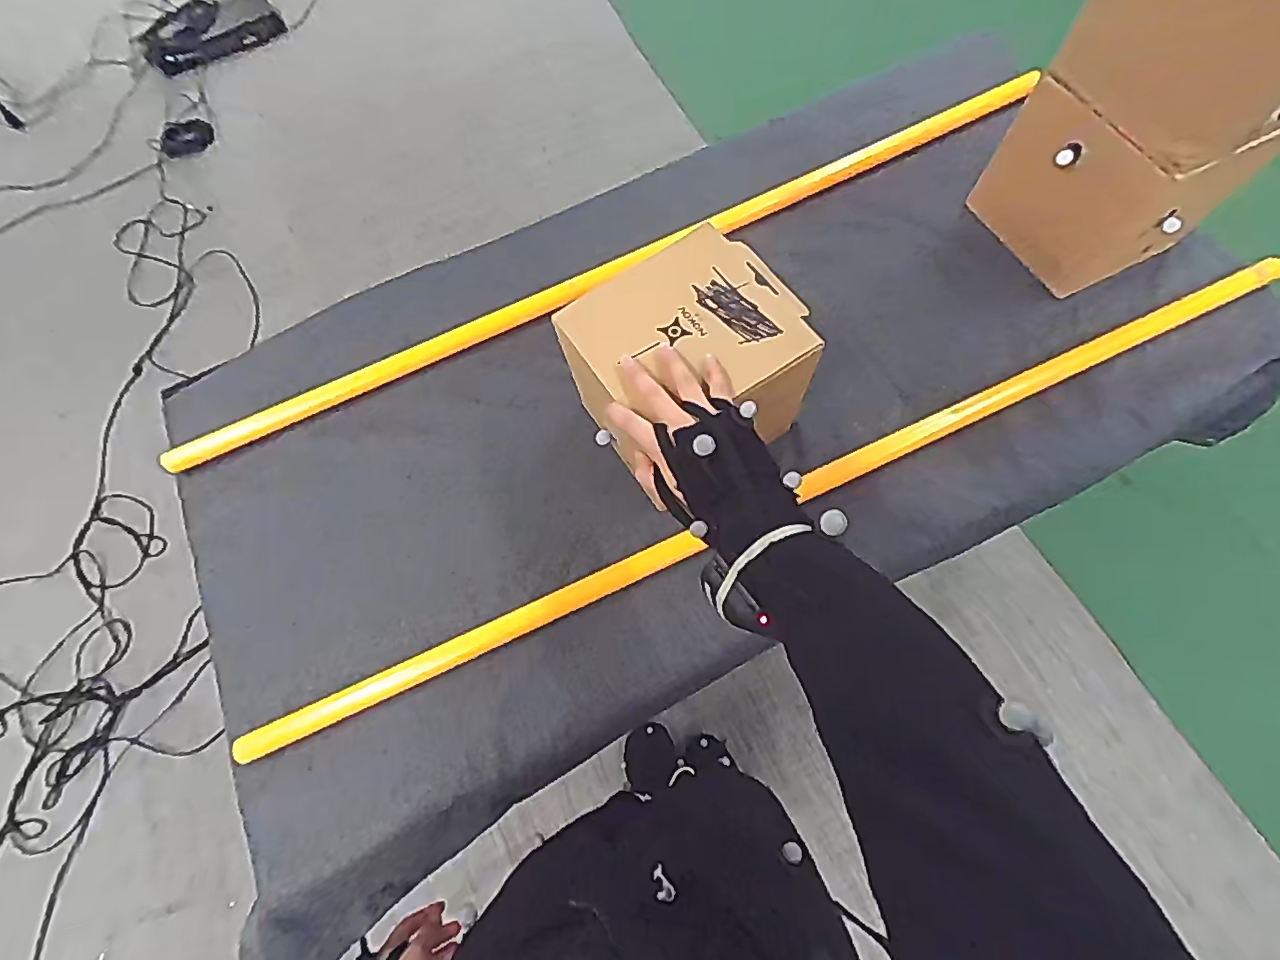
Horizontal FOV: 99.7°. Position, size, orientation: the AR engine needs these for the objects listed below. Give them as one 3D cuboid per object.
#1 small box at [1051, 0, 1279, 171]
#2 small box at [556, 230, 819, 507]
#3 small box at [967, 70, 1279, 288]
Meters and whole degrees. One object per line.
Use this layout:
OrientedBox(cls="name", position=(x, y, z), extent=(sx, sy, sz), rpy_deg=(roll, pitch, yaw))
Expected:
OrientedBox(cls="small box", position=(0.503, -0.403, 0.445), extent=(0.168, 0.176, 0.179), rpy_deg=(-28, 69, -4))
OrientedBox(cls="small box", position=(0.043, -0.100, 0.543), extent=(0.179, 0.176, 0.168), rpy_deg=(-33, 70, -7))
OrientedBox(cls="small box", position=(0.514, -0.341, 0.595), extent=(0.168, 0.176, 0.179), rpy_deg=(-26, 69, -4))
